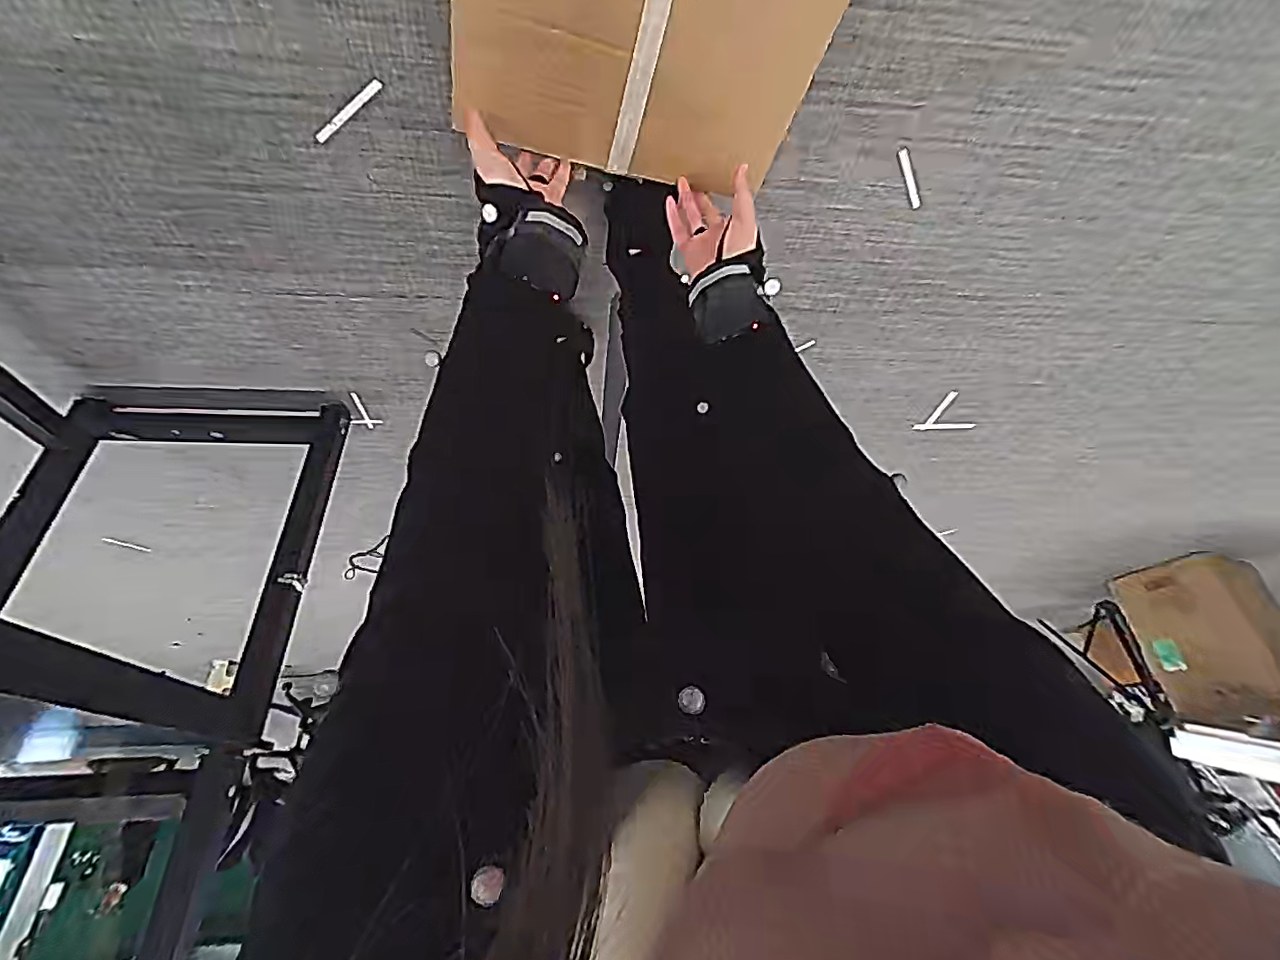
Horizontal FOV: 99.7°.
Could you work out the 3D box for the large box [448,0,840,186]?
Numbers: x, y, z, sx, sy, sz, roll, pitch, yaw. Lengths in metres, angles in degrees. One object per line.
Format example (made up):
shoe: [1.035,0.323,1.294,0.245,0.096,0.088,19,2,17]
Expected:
large box: [0.016,-0.551,0.454,0.320,0.320,0.408,4,147,-16]
